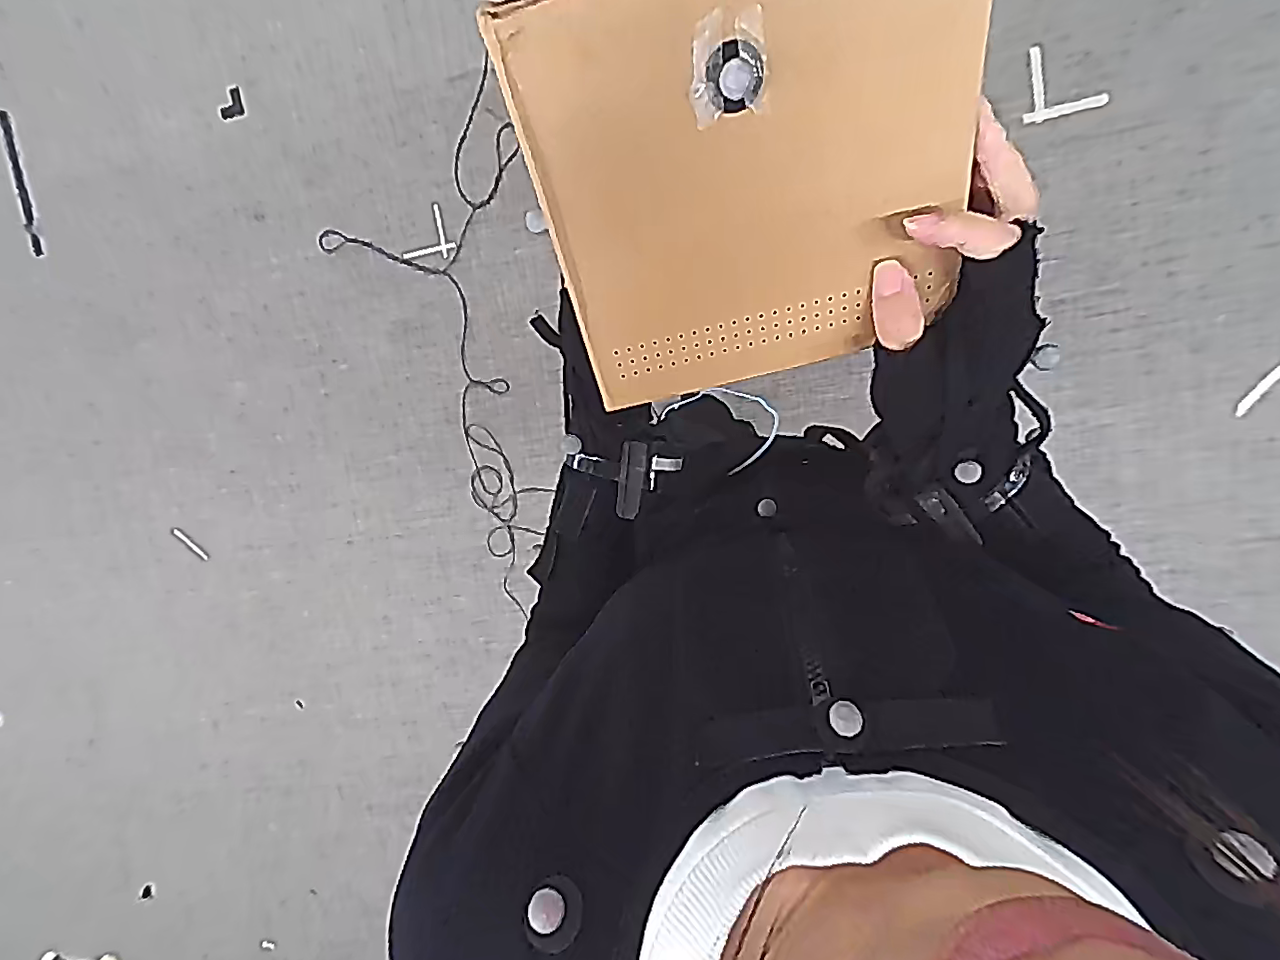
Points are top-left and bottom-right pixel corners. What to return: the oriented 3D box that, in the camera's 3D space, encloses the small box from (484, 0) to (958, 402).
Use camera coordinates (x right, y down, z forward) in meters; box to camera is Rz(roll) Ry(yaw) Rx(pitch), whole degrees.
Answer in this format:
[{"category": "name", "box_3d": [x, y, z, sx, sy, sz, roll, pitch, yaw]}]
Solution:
[{"category": "small box", "box_3d": [0.046, -0.162, 0.289, 0.179, 0.168, 0.176, -13, 128, 7]}]
